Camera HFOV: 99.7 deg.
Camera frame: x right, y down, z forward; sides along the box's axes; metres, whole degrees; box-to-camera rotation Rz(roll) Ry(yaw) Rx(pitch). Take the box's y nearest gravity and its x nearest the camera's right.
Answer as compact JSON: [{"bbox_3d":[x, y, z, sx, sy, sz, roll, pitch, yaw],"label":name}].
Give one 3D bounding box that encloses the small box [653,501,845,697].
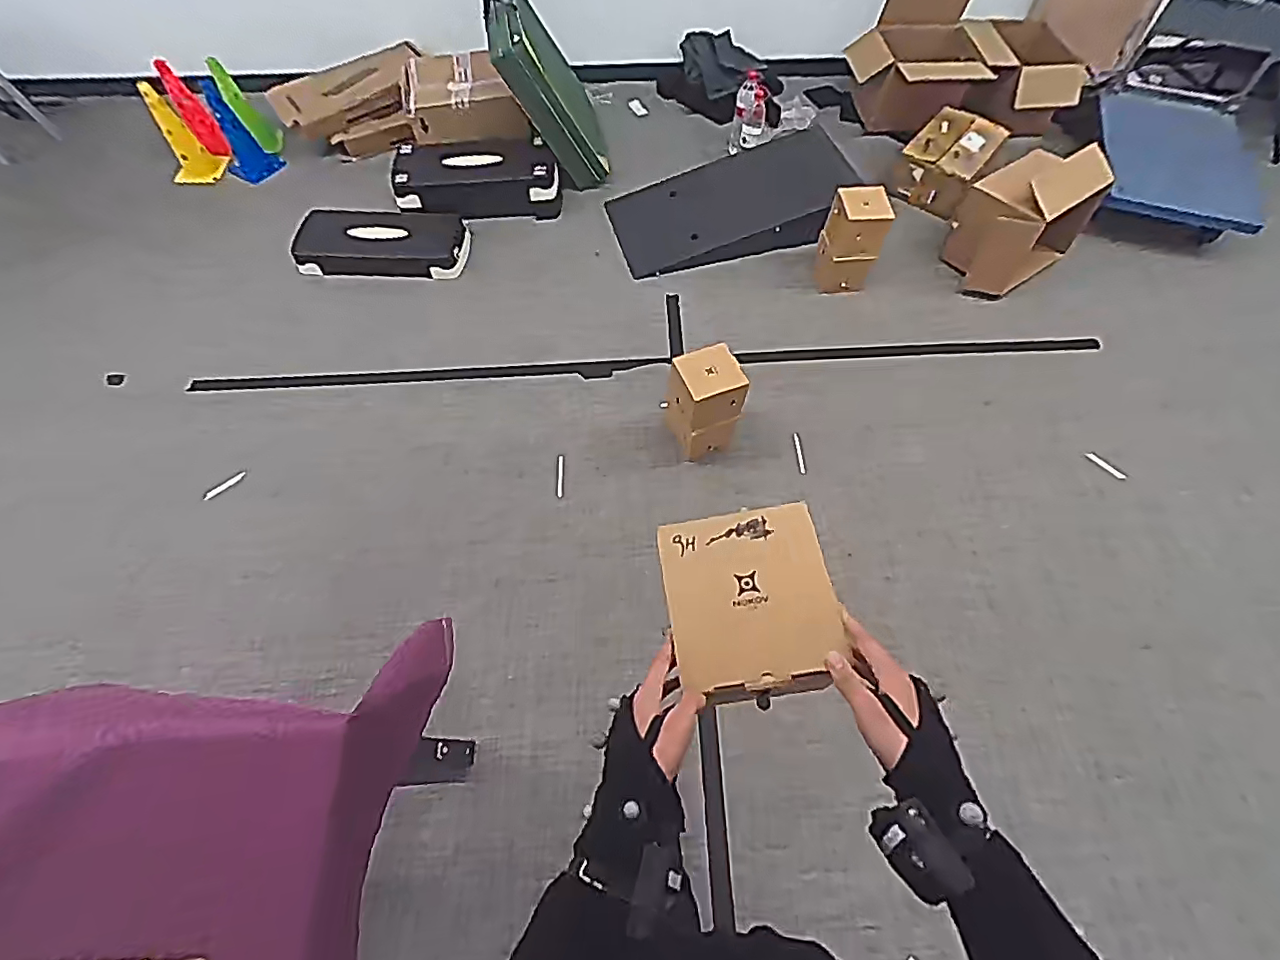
[{"bbox_3d":[0.116,0.147,0.621,0.168,0.176,0.179,-10,63,3],"label":"small box"}]
